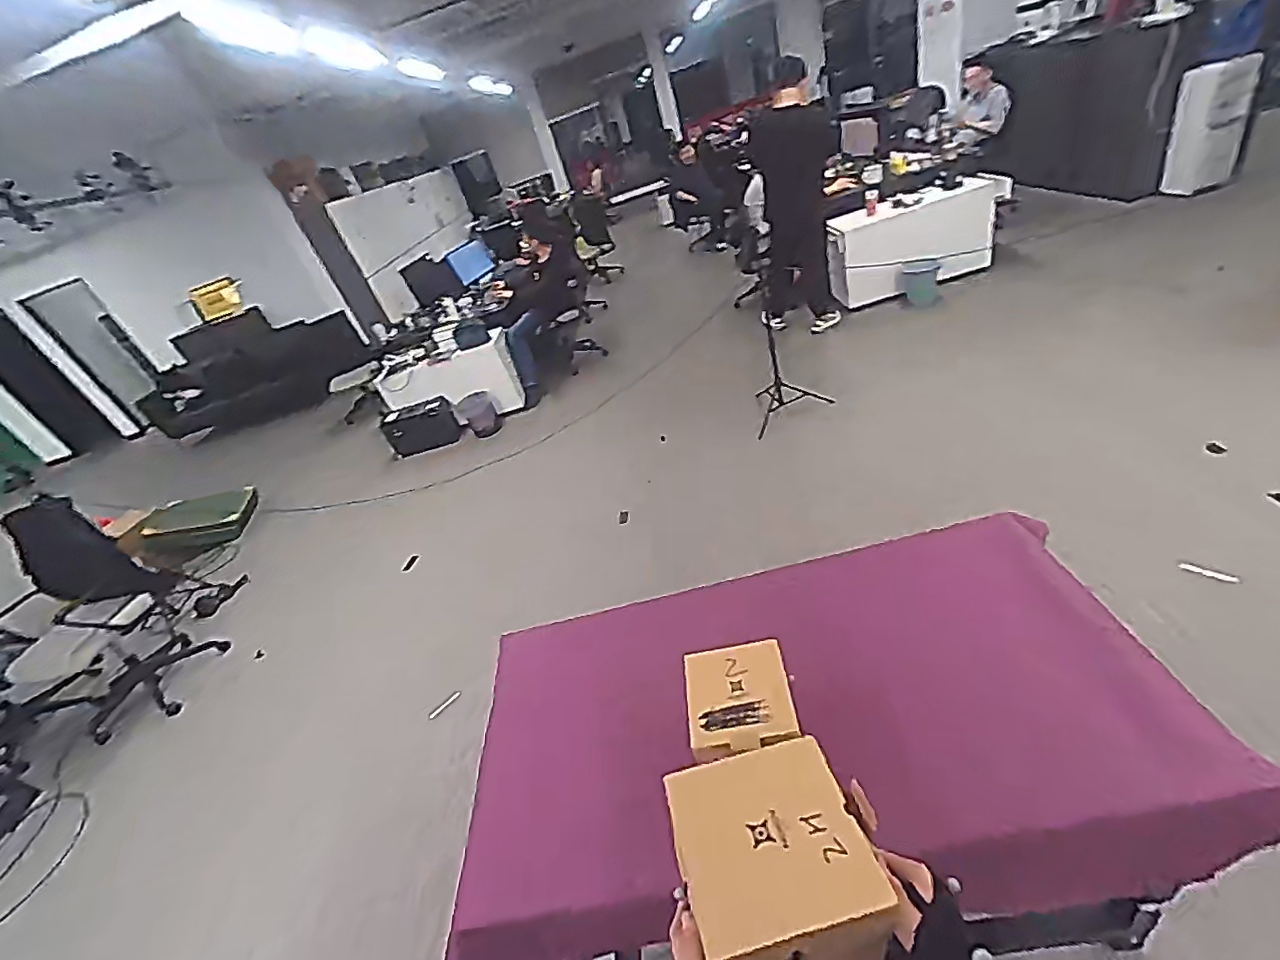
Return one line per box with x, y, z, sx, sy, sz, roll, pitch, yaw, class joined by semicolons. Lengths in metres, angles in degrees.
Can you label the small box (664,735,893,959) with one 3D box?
0.134;0.411;0.571;0.179;0.176;0.168;-11;32;-6;small box
